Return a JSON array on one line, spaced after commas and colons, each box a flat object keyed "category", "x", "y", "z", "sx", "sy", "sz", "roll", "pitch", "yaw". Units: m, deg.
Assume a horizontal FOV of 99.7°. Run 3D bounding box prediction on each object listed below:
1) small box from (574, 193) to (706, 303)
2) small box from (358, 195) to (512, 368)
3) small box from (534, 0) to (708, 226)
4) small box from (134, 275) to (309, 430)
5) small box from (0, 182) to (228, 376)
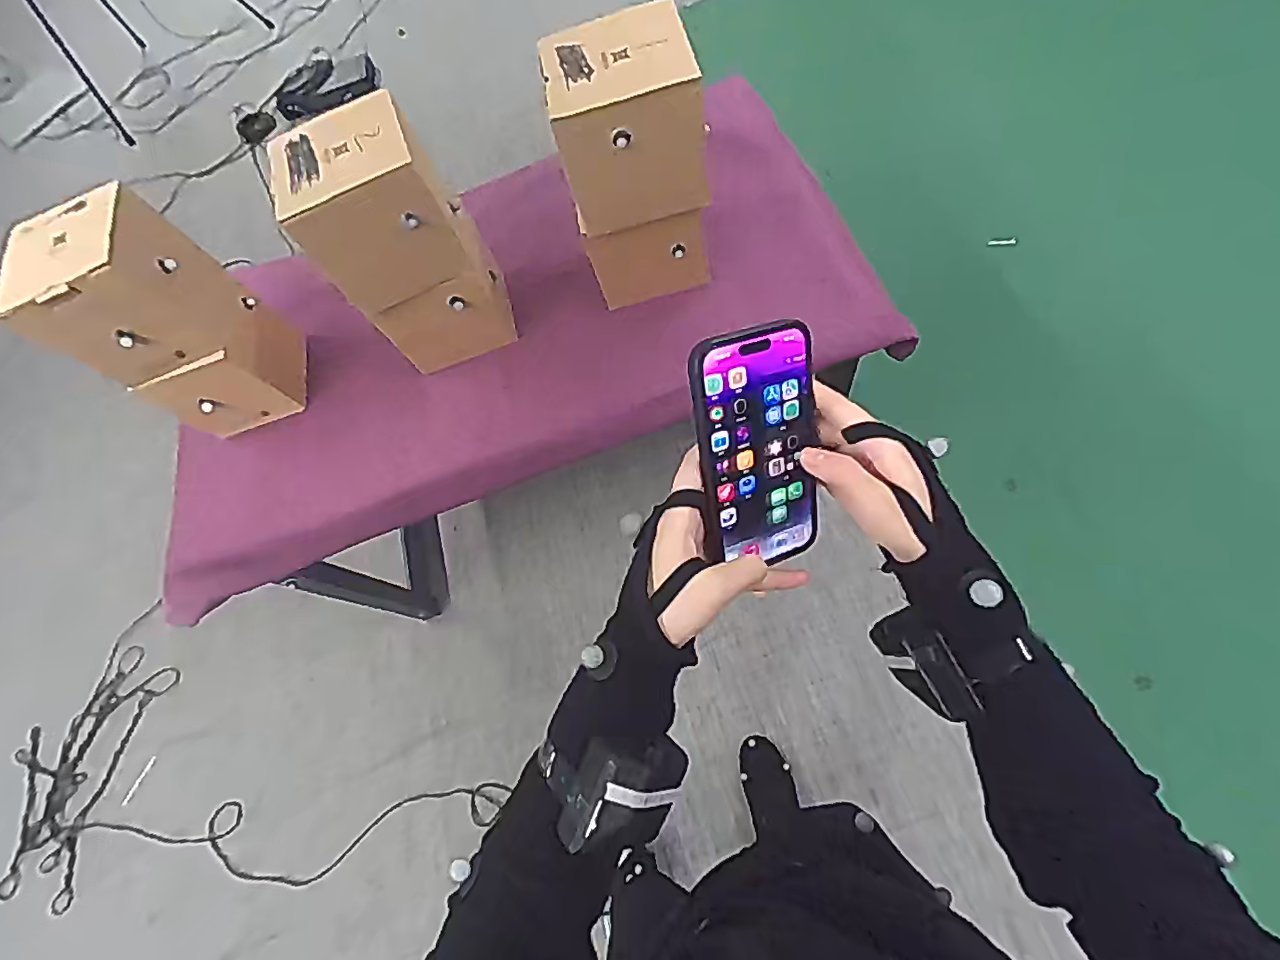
[{"category": "small box", "x": 0.003, "y": -0.411, "z": 0.850, "sx": 0.179, "sy": 0.176, "sz": 0.168, "roll": -14, "pitch": 65, "yaw": 8}, {"category": "small box", "x": -0.323, "y": -0.313, "z": 0.880, "sx": 0.179, "sy": 0.176, "sz": 0.168, "roll": -19, "pitch": 65, "yaw": 4}, {"category": "small box", "x": -0.019, "y": -0.462, "z": 0.695, "sx": 0.179, "sy": 0.176, "sz": 0.168, "roll": -13, "pitch": 65, "yaw": 6}, {"category": "small box", "x": -0.696, "y": -0.204, "z": 0.919, "sx": 0.168, "sy": 0.176, "sz": 0.179, "roll": -19, "pitch": 65, "yaw": 5}, {"category": "small box", "x": -0.732, "y": -0.272, "z": 0.774, "sx": 0.168, "sy": 0.176, "sz": 0.179, "roll": -23, "pitch": 66, "yaw": 2}]
